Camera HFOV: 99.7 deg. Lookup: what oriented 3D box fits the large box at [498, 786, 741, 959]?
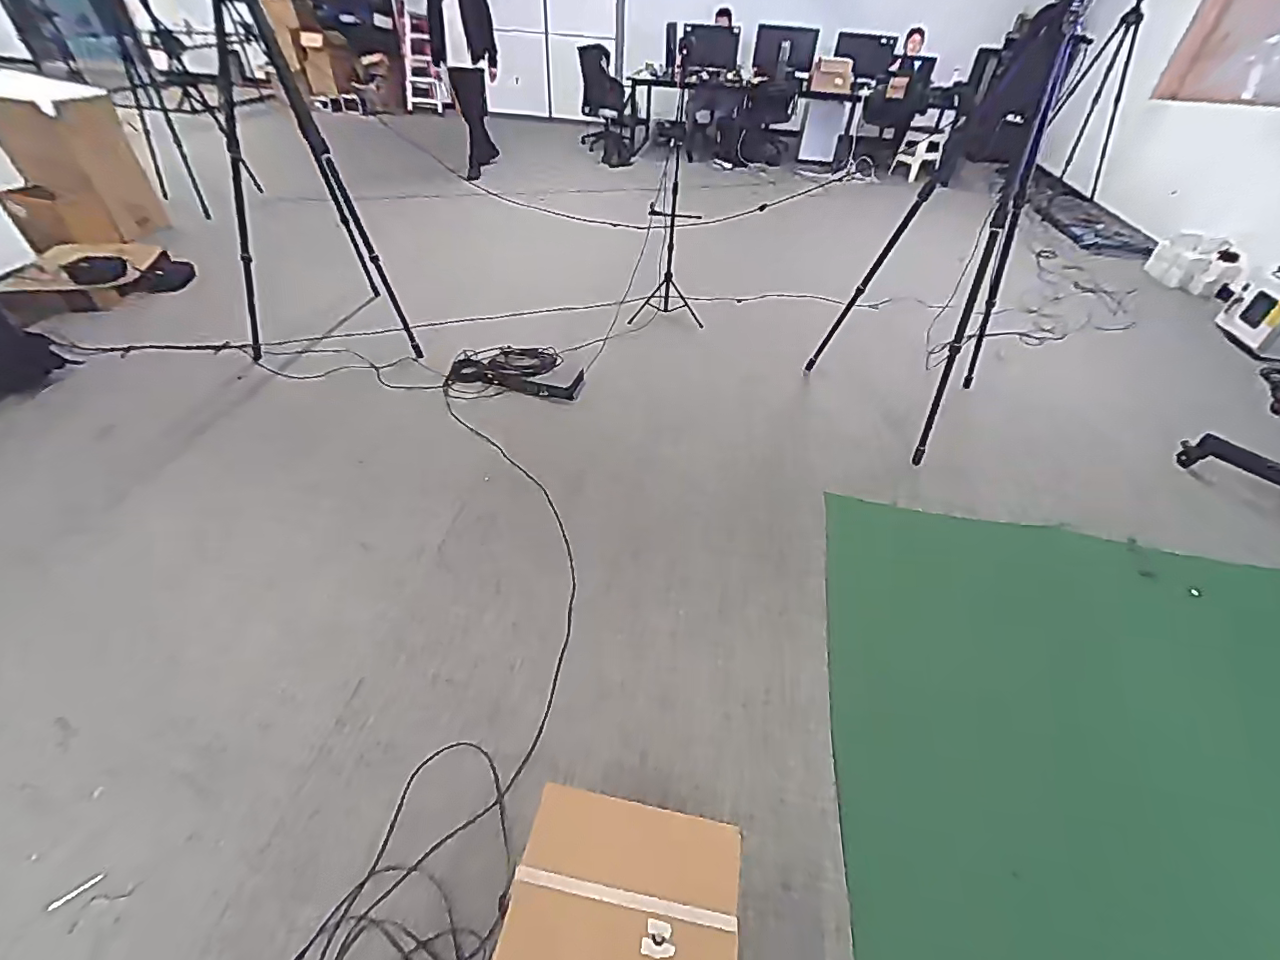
[{"bbox_3d":[-0.034,0.862,1.069,0.408,0.320,0.320,10,42,5],"label":"large box"}]
